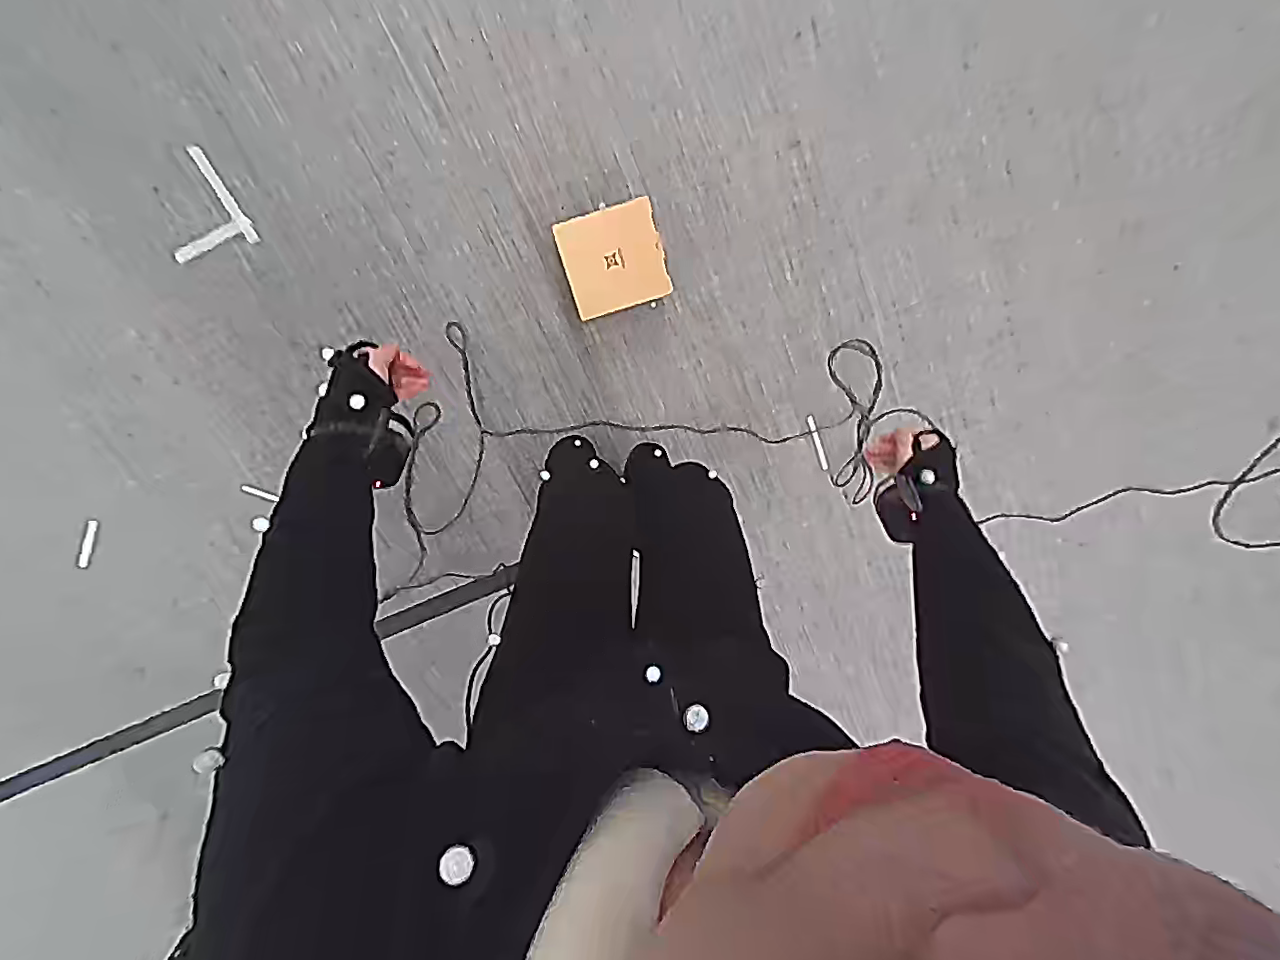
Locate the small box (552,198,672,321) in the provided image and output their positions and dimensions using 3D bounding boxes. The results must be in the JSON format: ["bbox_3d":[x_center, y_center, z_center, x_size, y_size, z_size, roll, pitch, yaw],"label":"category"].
[{"bbox_3d":[-0.052,-0.404,1.022,0.179,0.176,0.168,-18,107,0],"label":"small box"}]
